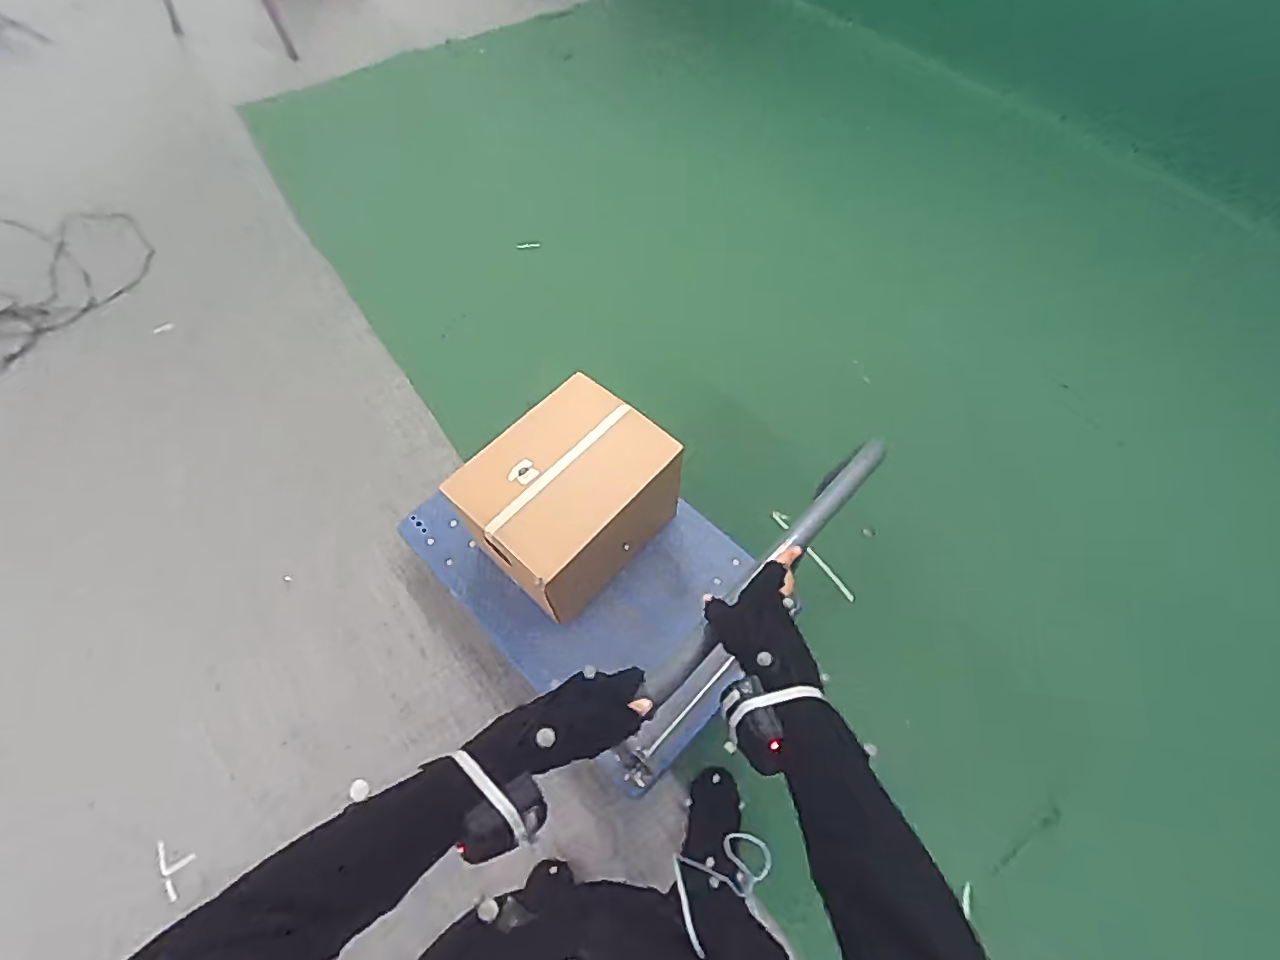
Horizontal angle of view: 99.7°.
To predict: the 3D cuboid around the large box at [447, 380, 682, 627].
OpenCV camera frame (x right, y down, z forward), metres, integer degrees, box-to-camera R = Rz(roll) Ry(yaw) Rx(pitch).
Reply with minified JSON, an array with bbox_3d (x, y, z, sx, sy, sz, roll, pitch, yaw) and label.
[{"bbox_3d":[-0.150,0.058,1.244,0.320,0.320,0.408,38,67,20],"label":"large box"}]
